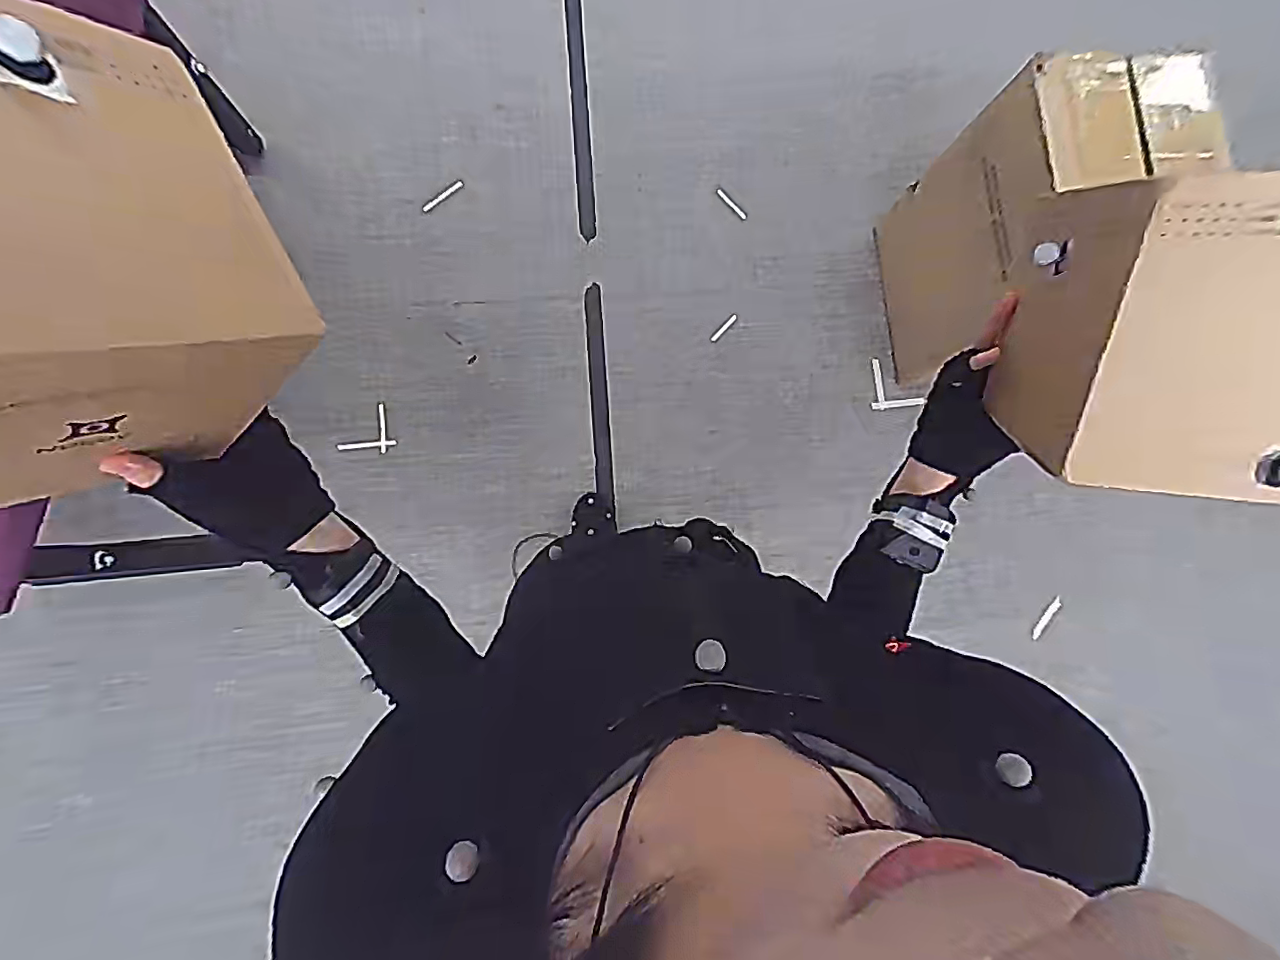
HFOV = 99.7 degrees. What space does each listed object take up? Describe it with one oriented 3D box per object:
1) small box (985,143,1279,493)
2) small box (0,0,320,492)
[{"bbox_3d":[0.352,-0.105,0.341,0.168,0.179,0.176,6,116,15],"label":"small box"},{"bbox_3d":[-0.304,-0.104,0.261,0.179,0.168,0.176,-26,93,35],"label":"small box"}]
